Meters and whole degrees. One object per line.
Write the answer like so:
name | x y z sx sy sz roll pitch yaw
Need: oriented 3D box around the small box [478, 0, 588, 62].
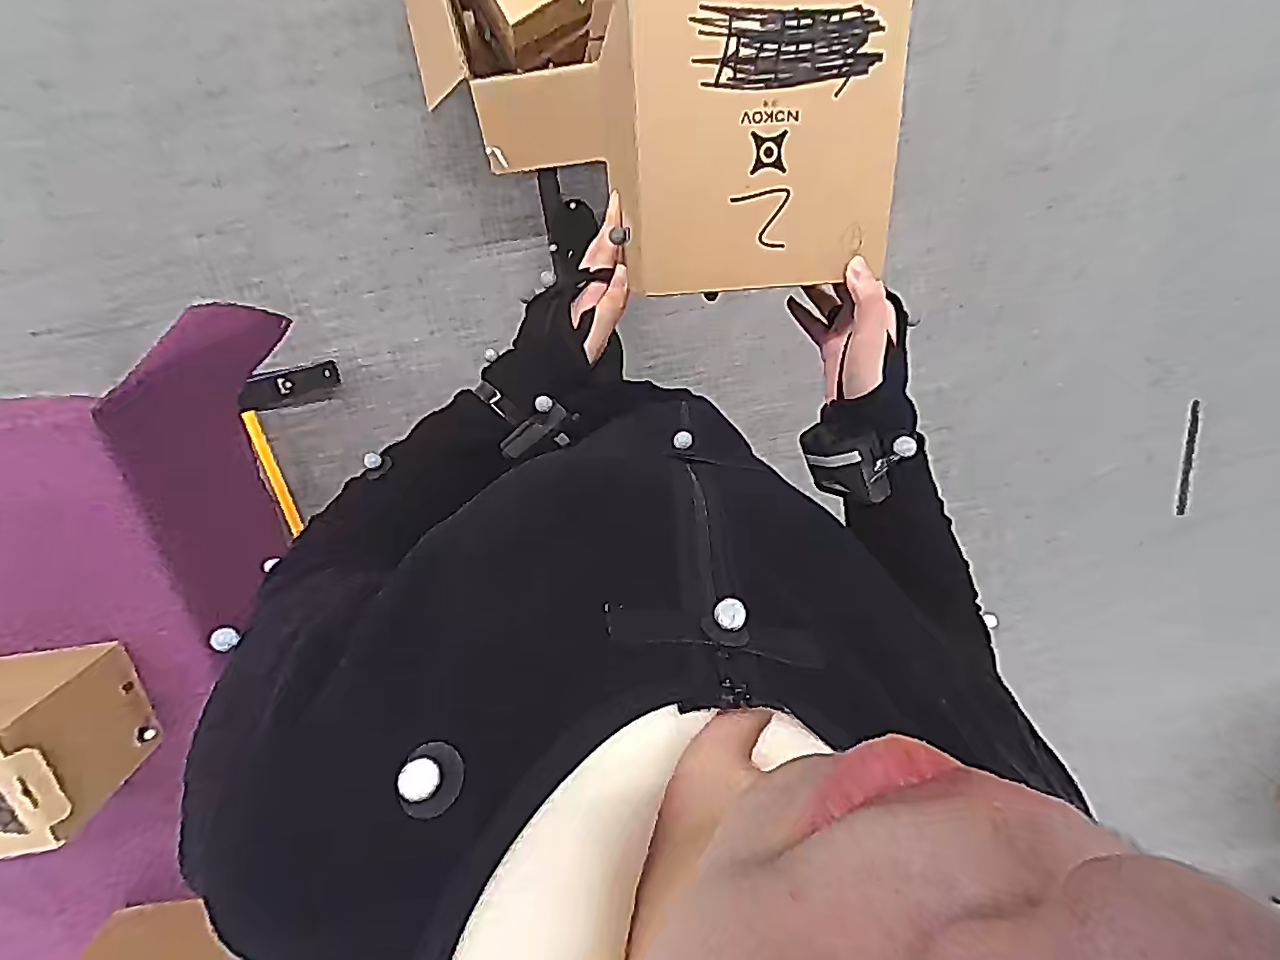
small box | -0.196 -0.872 0.928 0.179 0.176 0.168 -32 111 -1

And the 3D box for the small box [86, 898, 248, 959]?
small box | -0.722 0.765 0.805 0.179 0.176 0.168 1 107 -7

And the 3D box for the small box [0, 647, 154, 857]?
small box | -0.753 0.325 0.660 0.179 0.176 0.168 -7 108 -4
